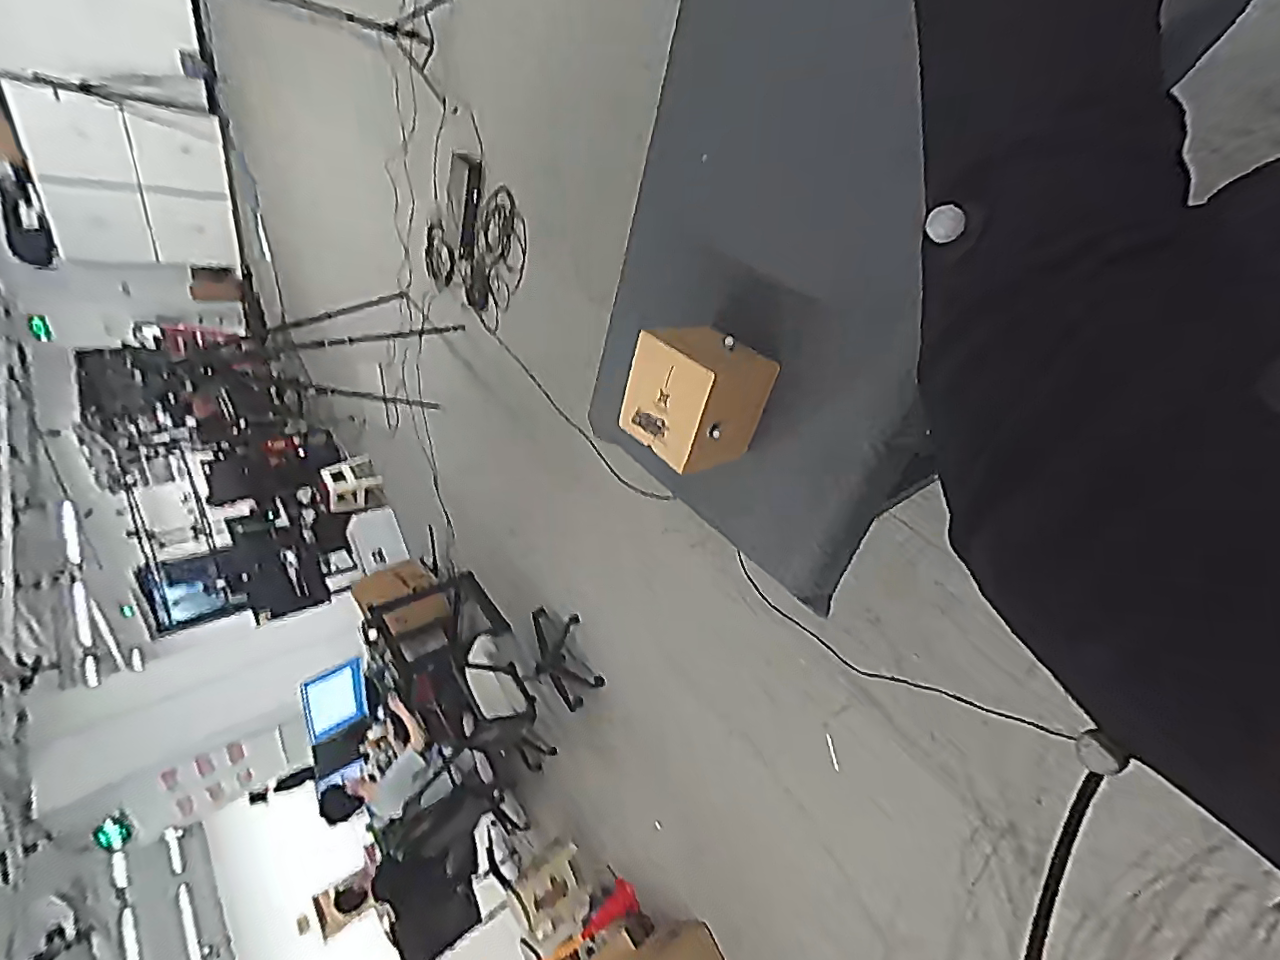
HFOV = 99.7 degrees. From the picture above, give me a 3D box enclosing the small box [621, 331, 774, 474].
[{"bbox_3d":[0.096,-0.138,0.909,0.168,0.176,0.179,40,129,33],"label":"small box"}]
